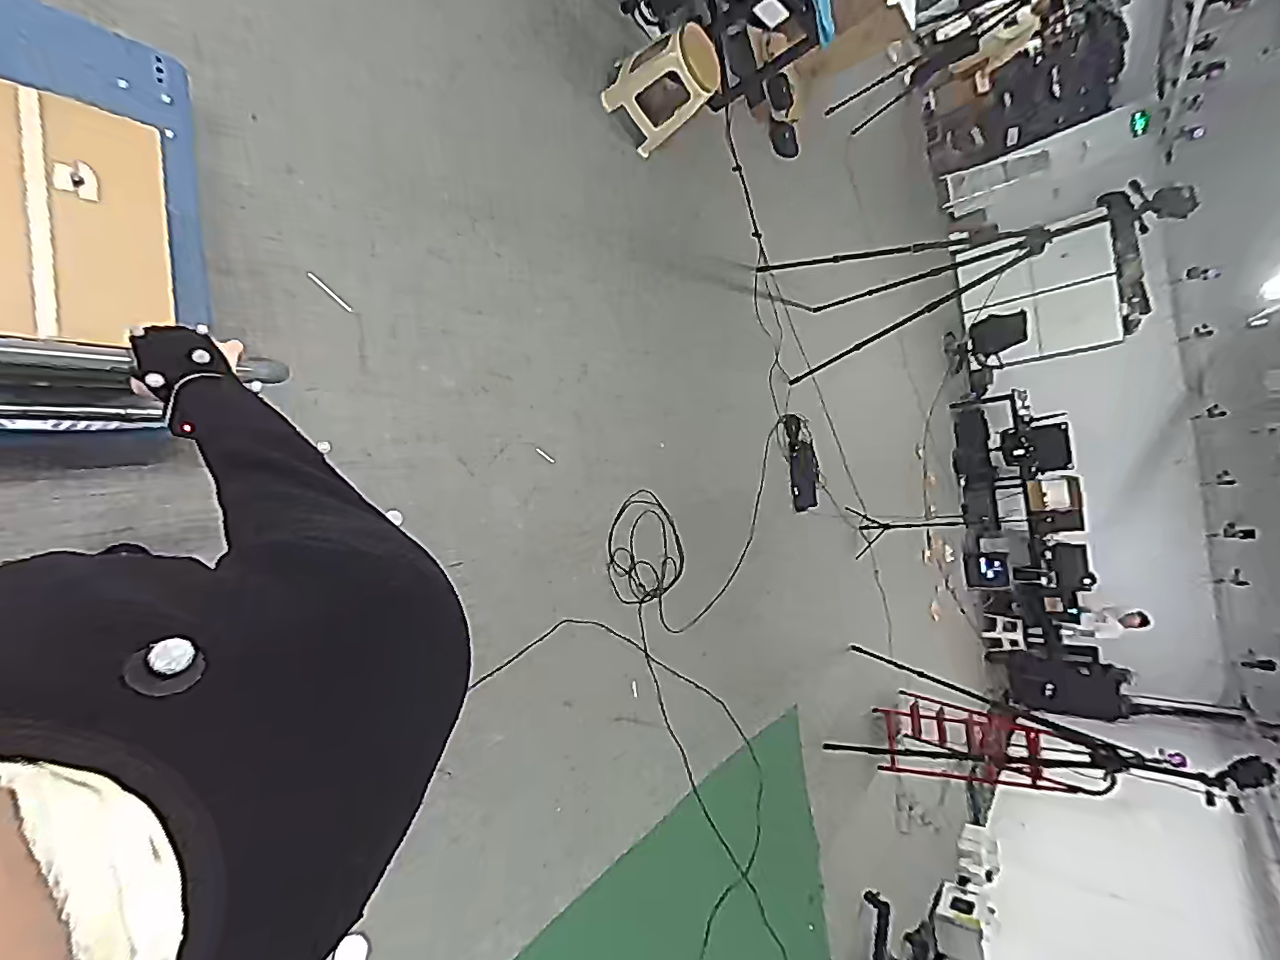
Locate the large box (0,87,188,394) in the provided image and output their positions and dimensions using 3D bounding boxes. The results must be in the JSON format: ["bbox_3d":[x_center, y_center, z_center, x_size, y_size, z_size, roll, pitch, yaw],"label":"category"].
[{"bbox_3d":[-1.027,-0.381,0.938,0.320,0.320,0.408,-5,86,-48],"label":"large box"}]
